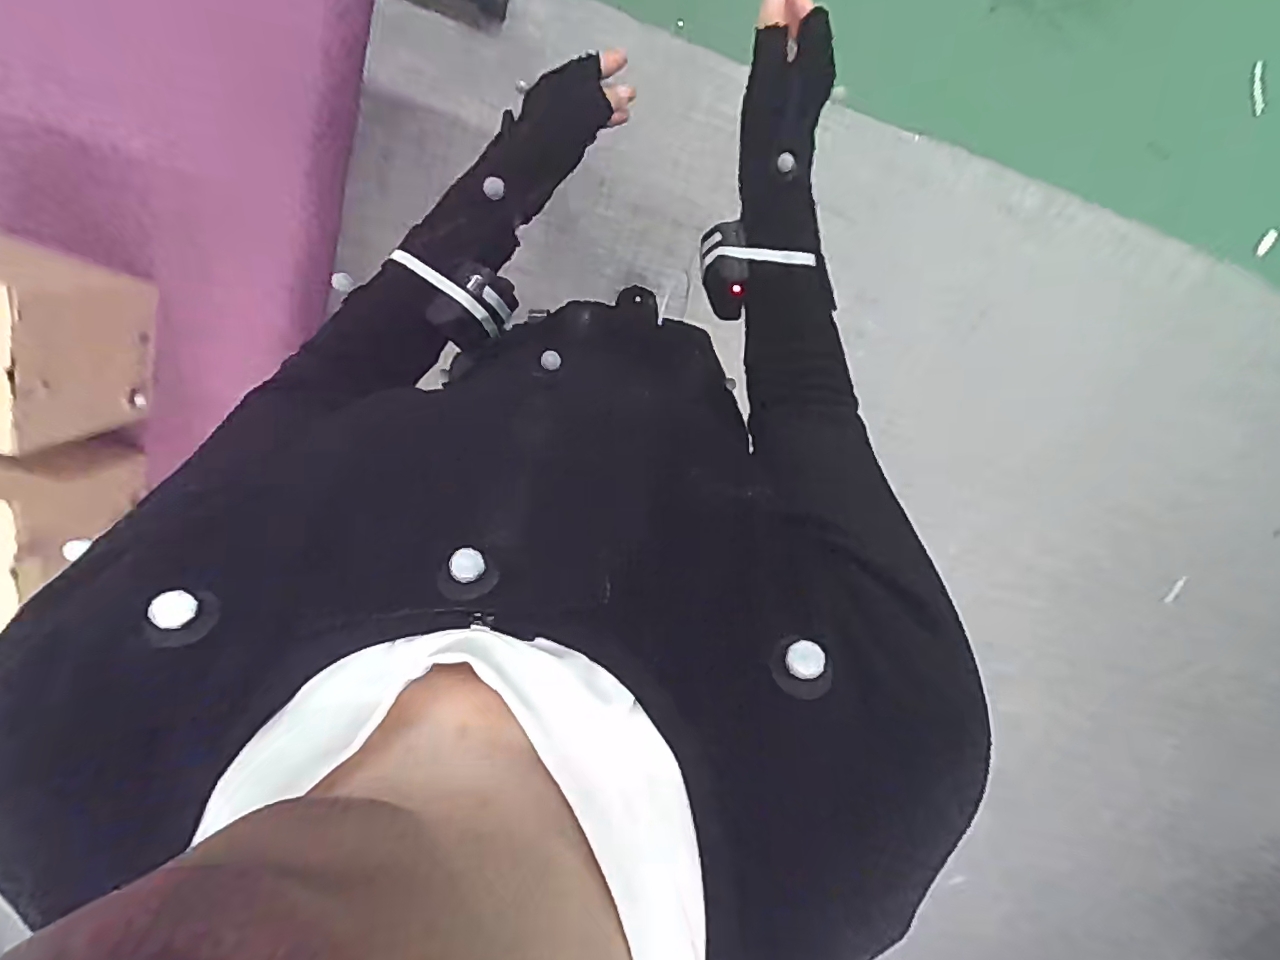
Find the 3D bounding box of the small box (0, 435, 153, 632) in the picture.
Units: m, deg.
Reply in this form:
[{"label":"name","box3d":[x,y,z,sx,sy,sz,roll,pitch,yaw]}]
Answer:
[{"label":"small box","box3d":[-0.730,0.043,0.628,0.179,0.176,0.168,17,108,-9]}]

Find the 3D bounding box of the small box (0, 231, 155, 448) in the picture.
[{"label":"small box","box3d":[-0.660,-0.156,0.567,0.179,0.176,0.168,15,111,-11]}]
